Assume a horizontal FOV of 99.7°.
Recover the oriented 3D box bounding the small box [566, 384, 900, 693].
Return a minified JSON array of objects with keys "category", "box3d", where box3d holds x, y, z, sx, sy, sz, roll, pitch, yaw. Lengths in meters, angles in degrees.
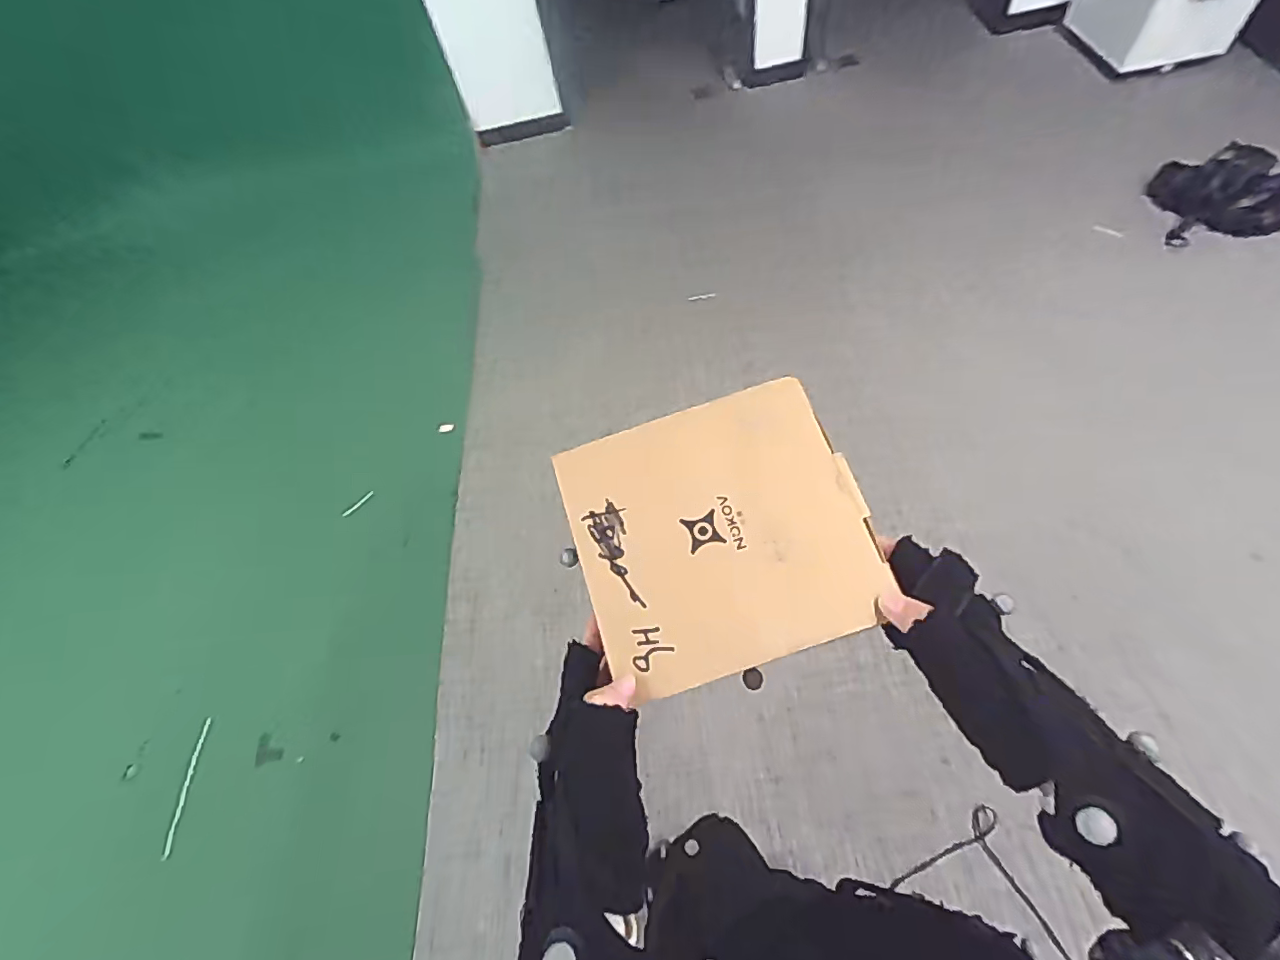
[{"category":"small box","box3d":[0.057,0.056,0.419,0.179,0.176,0.168,-17,68,-1]}]
